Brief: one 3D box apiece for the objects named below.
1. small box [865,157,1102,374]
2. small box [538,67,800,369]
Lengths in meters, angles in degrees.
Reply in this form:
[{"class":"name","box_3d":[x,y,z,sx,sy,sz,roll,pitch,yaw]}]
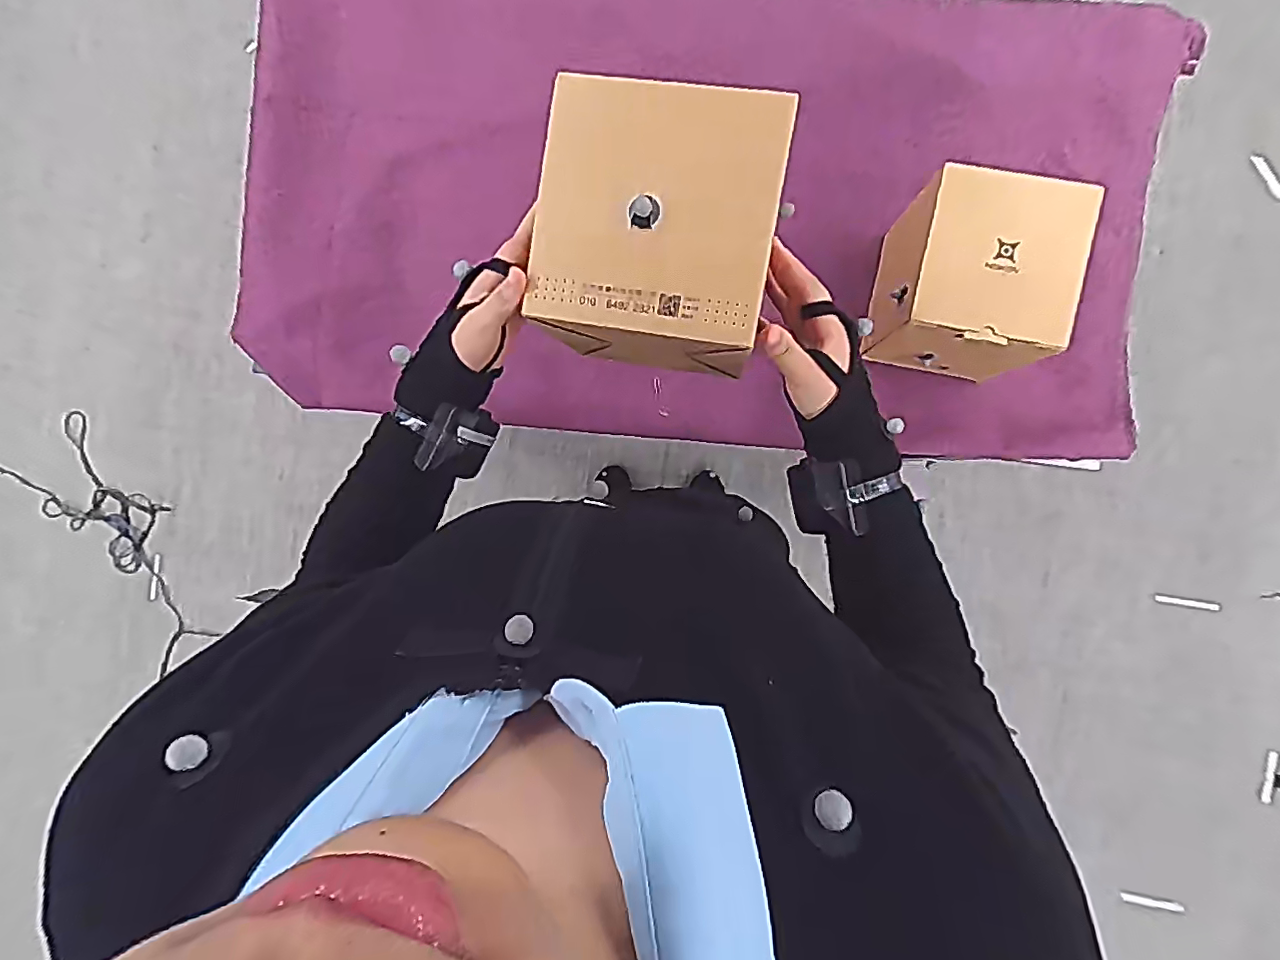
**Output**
[{"class":"small box","box_3d":[0.390,-0.241,0.647,0.168,0.176,0.179,12,91,5]},{"class":"small box","box_3d":[0.023,-0.191,0.446,0.168,0.179,0.176,11,96,7]}]
